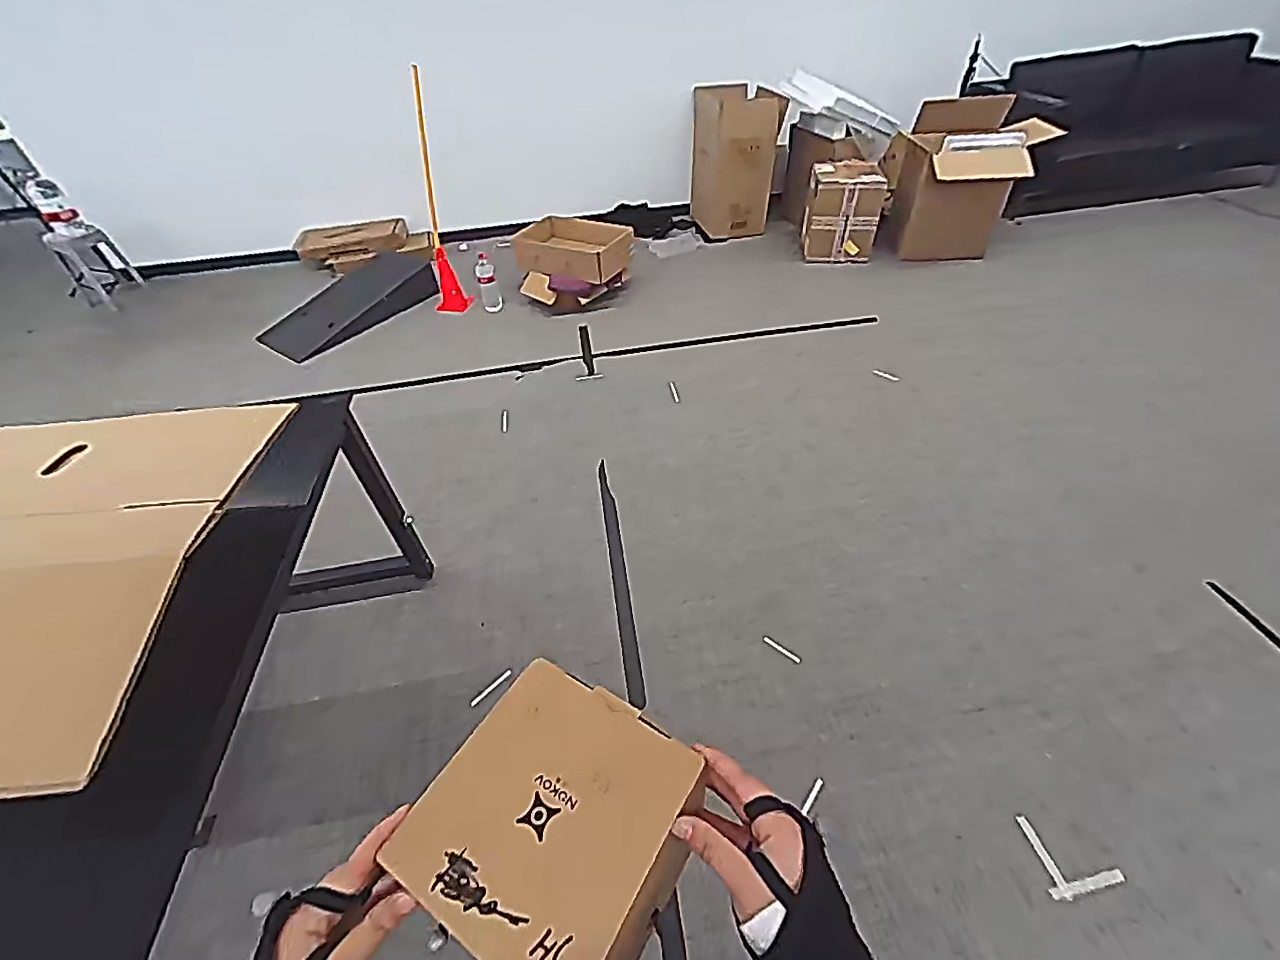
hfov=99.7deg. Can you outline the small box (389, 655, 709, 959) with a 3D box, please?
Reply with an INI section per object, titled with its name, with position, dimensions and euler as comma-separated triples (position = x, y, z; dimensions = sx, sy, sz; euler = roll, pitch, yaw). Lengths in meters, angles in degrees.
[small box]
position = -0.058, 0.288, 0.440
dimensions = 0.168, 0.176, 0.179
euler = 20, 47, 27
